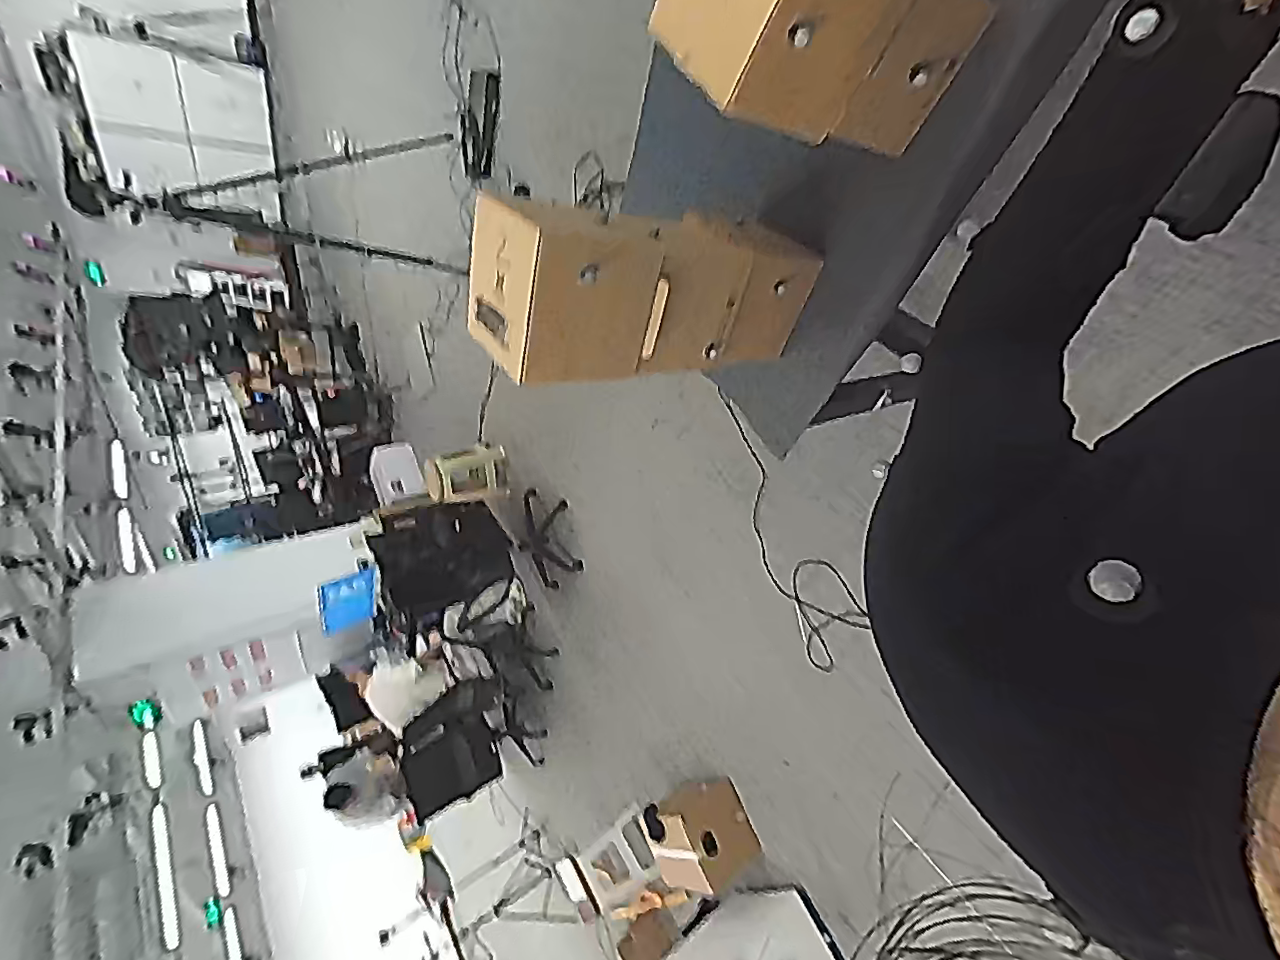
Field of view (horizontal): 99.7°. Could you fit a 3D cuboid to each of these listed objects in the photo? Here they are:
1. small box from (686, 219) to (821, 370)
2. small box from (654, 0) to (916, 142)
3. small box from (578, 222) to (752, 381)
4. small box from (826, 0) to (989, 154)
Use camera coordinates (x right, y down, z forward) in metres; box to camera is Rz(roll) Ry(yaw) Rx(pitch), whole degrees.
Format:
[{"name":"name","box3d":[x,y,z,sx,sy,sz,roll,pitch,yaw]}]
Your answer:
[{"name":"small box","box3d":[0.164,-0.302,0.882,0.168,0.176,0.179,49,137,34]},{"name":"small box","box3d":[0.151,-0.488,0.557,0.168,0.176,0.179,60,142,21]},{"name":"small box","box3d":[0.033,-0.262,0.790,0.179,0.176,0.168,46,134,37]},{"name":"small box","box3d":[0.274,-0.524,0.659,0.179,0.176,0.168,55,140,25]}]
